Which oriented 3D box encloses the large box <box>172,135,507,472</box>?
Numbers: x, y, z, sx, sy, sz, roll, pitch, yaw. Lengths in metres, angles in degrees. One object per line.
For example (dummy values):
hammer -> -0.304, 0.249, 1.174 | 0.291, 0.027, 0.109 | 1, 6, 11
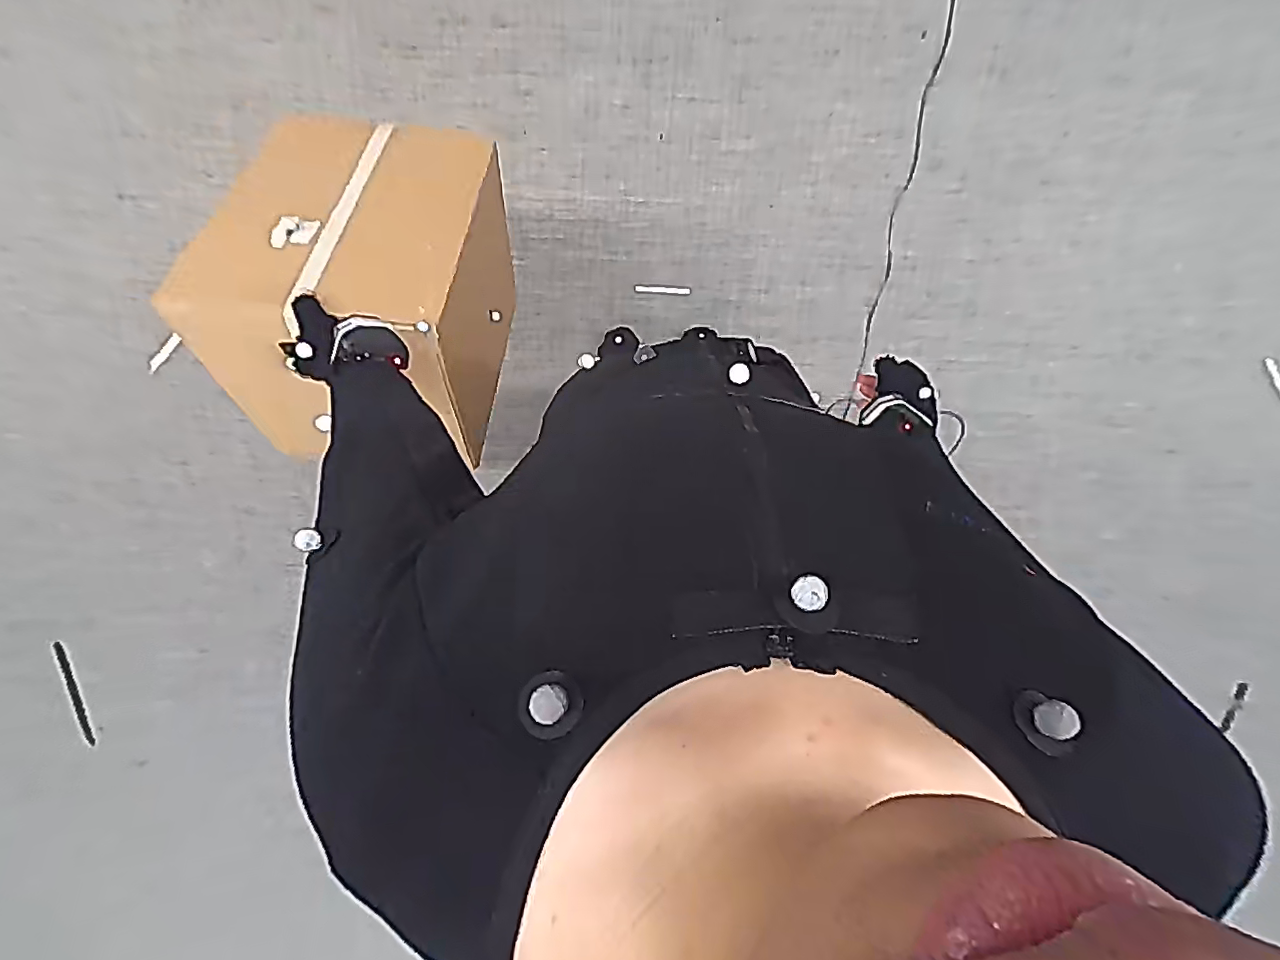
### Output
large box -> -0.402, -0.268, 0.857 | 0.320, 0.408, 0.320 | 3, 149, -3
